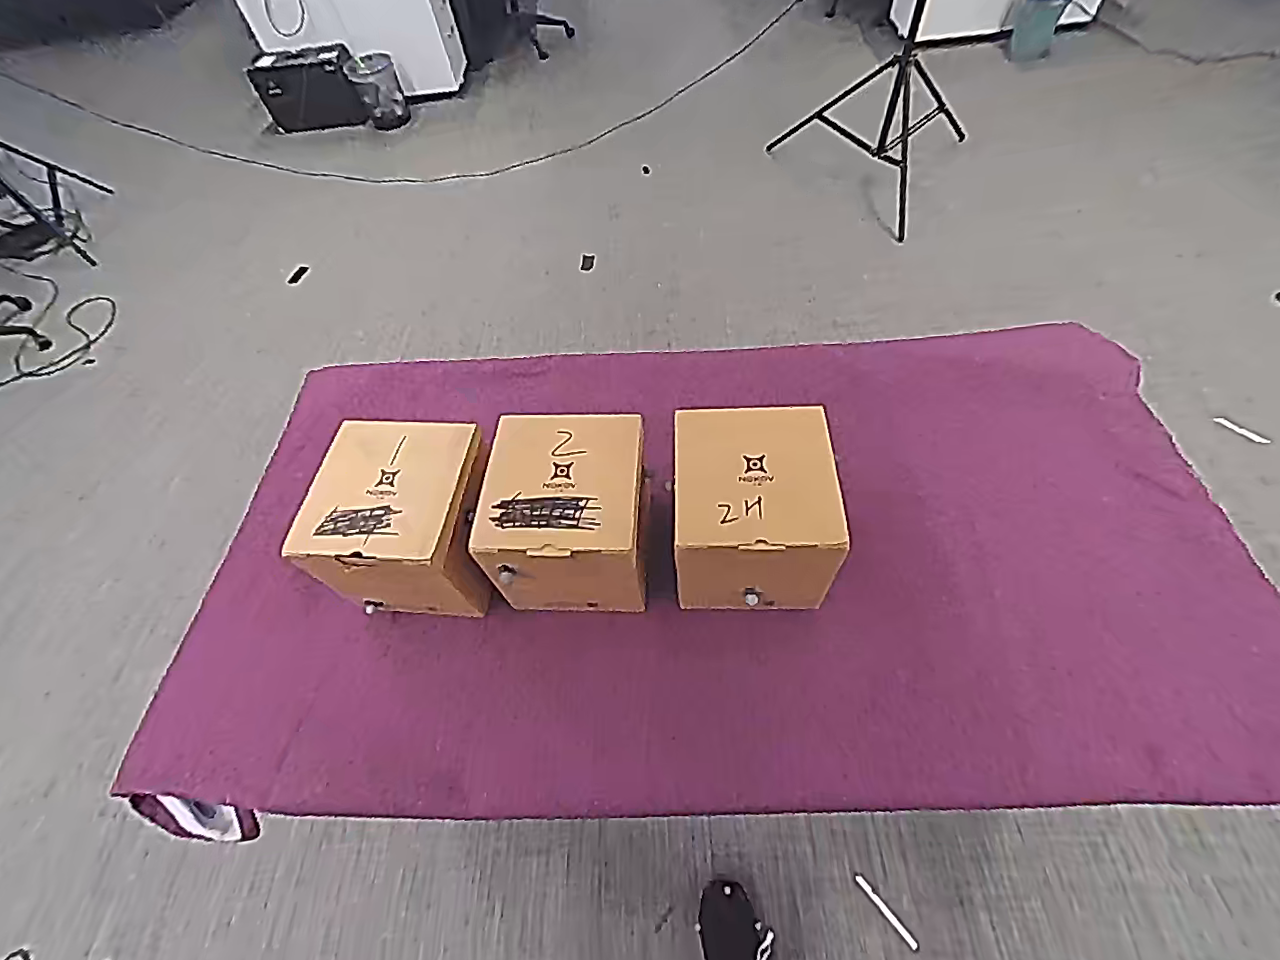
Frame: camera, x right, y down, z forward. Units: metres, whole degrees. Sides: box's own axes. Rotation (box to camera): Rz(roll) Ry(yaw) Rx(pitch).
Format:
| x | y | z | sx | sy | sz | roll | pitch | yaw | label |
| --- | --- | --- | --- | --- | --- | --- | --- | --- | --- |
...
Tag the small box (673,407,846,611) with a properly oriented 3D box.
| x | y | z | sx | sy | sz | roll | pitch | yaw | label |
| --- | --- | --- | --- | --- | --- | --- | --- | --- | --- |
| 0.123 | 0.037 | 0.626 | 0.168 | 0.176 | 0.179 | -1 | 56 | 6 | small box |
